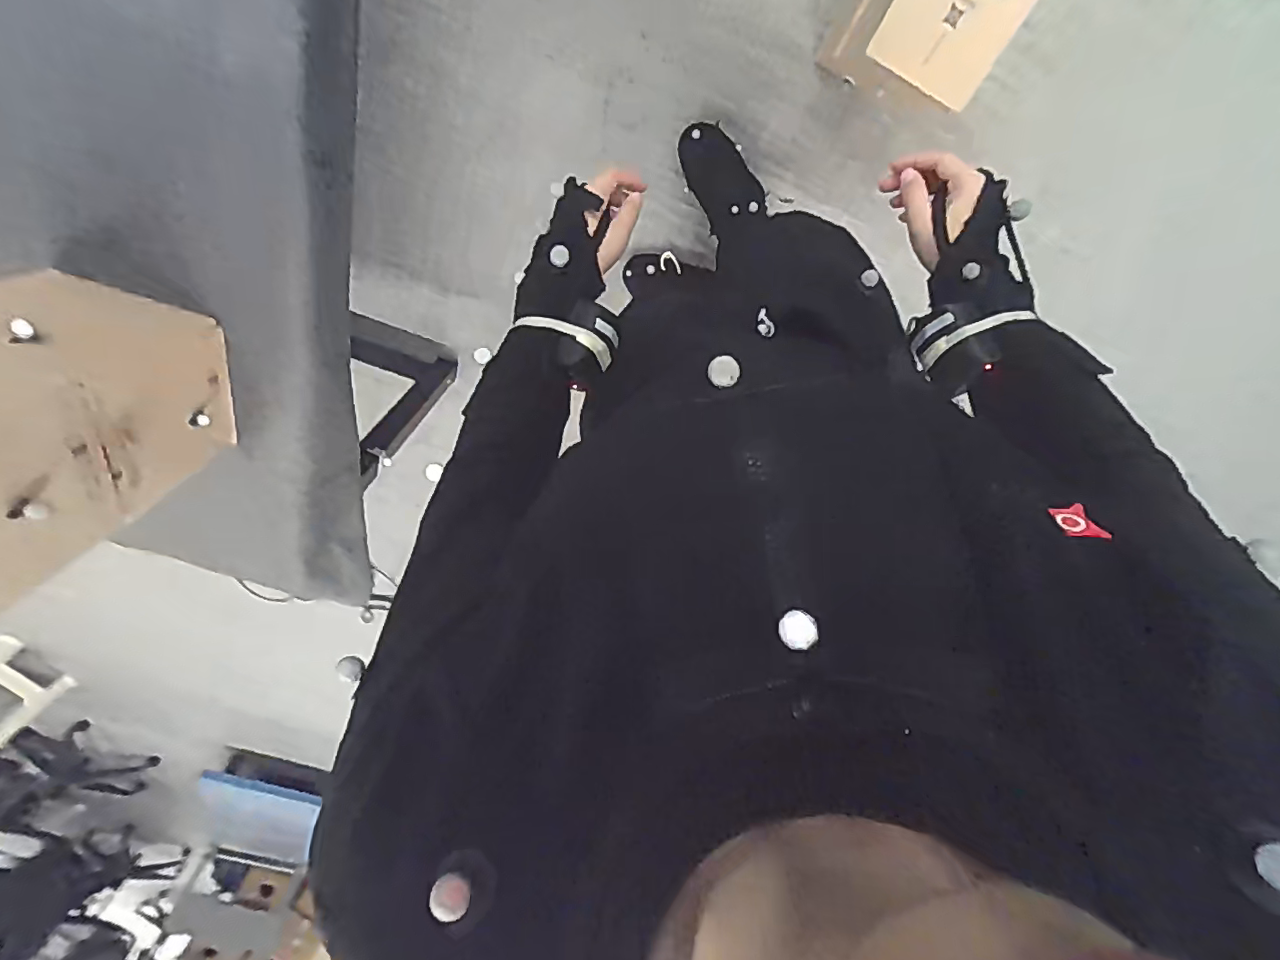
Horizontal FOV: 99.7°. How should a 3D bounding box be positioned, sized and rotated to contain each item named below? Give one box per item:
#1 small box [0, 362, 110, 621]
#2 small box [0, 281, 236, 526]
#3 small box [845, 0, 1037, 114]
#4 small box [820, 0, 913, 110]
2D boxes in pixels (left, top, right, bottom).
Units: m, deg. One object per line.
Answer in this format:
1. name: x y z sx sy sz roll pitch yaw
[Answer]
1. small box: -0.569 0.004 0.414 0.179 0.176 0.168 15 124 -7
2. small box: -0.562 -0.086 0.551 0.179 0.176 0.168 16 124 -7
3. small box: 0.418 -0.654 0.765 0.168 0.176 0.179 23 124 -10
4. small box: 0.424 -0.752 0.897 0.168 0.176 0.179 23 125 -10
